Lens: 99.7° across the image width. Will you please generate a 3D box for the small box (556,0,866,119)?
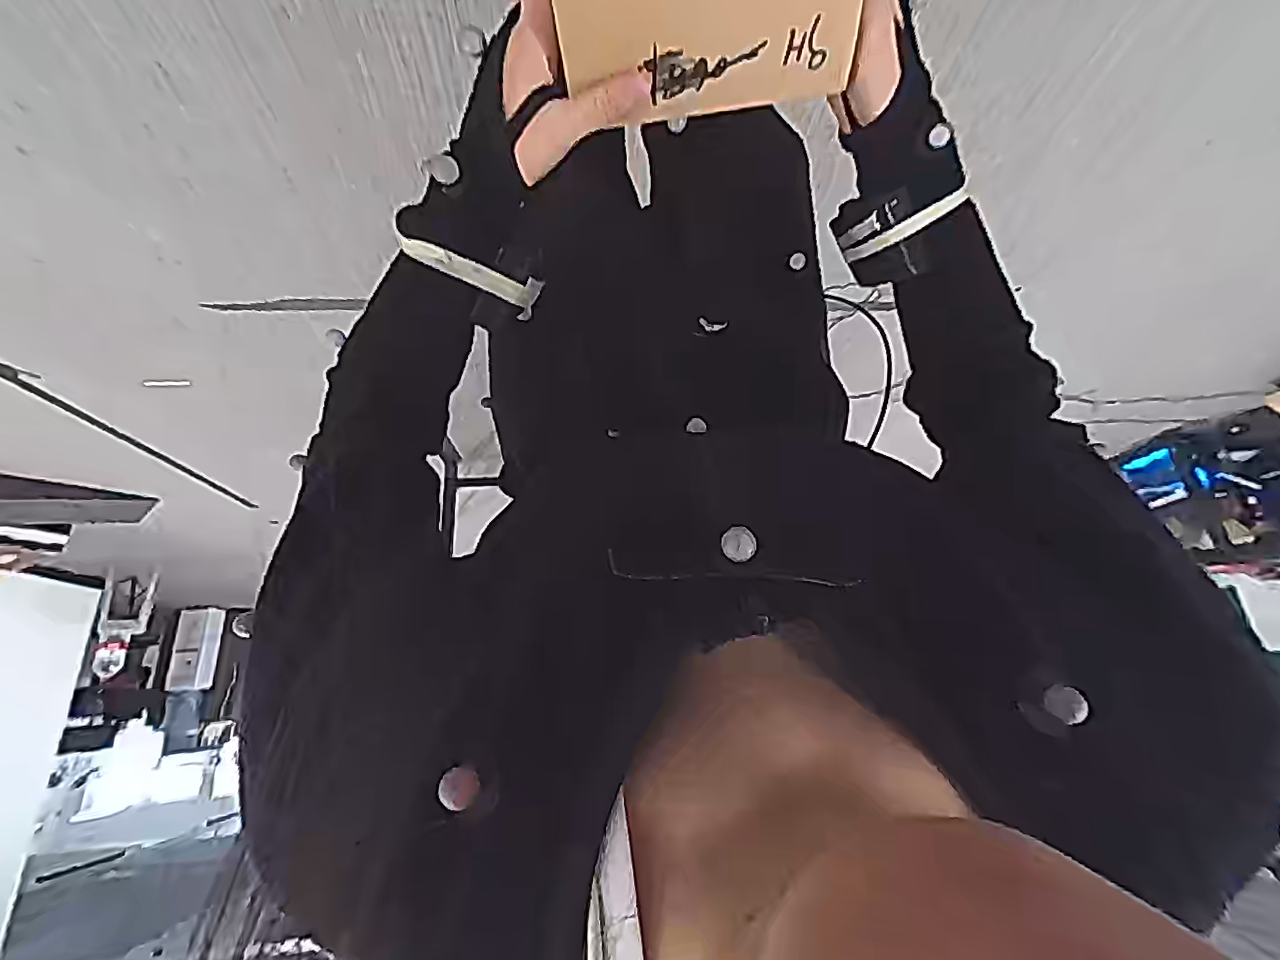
[{"bbox_3d":[0.028,-0.338,0.301,0.168,0.176,0.179,-7,141,2],"label":"small box"}]
